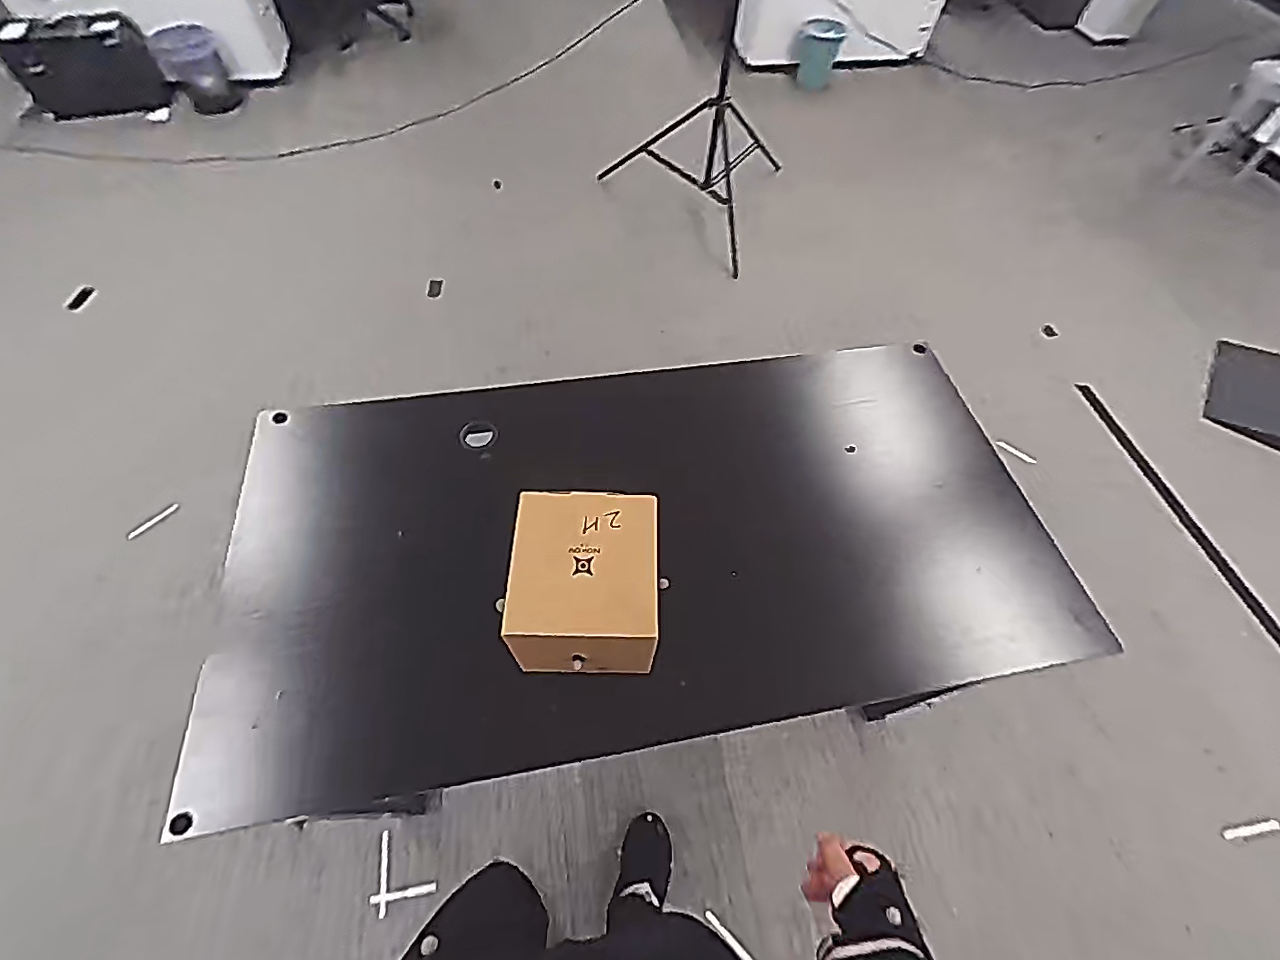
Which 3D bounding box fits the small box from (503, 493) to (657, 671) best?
[{"bbox_3d":[-0.065,0.135,0.680,0.168,0.176,0.179,2,57,-2],"label":"small box"}]
